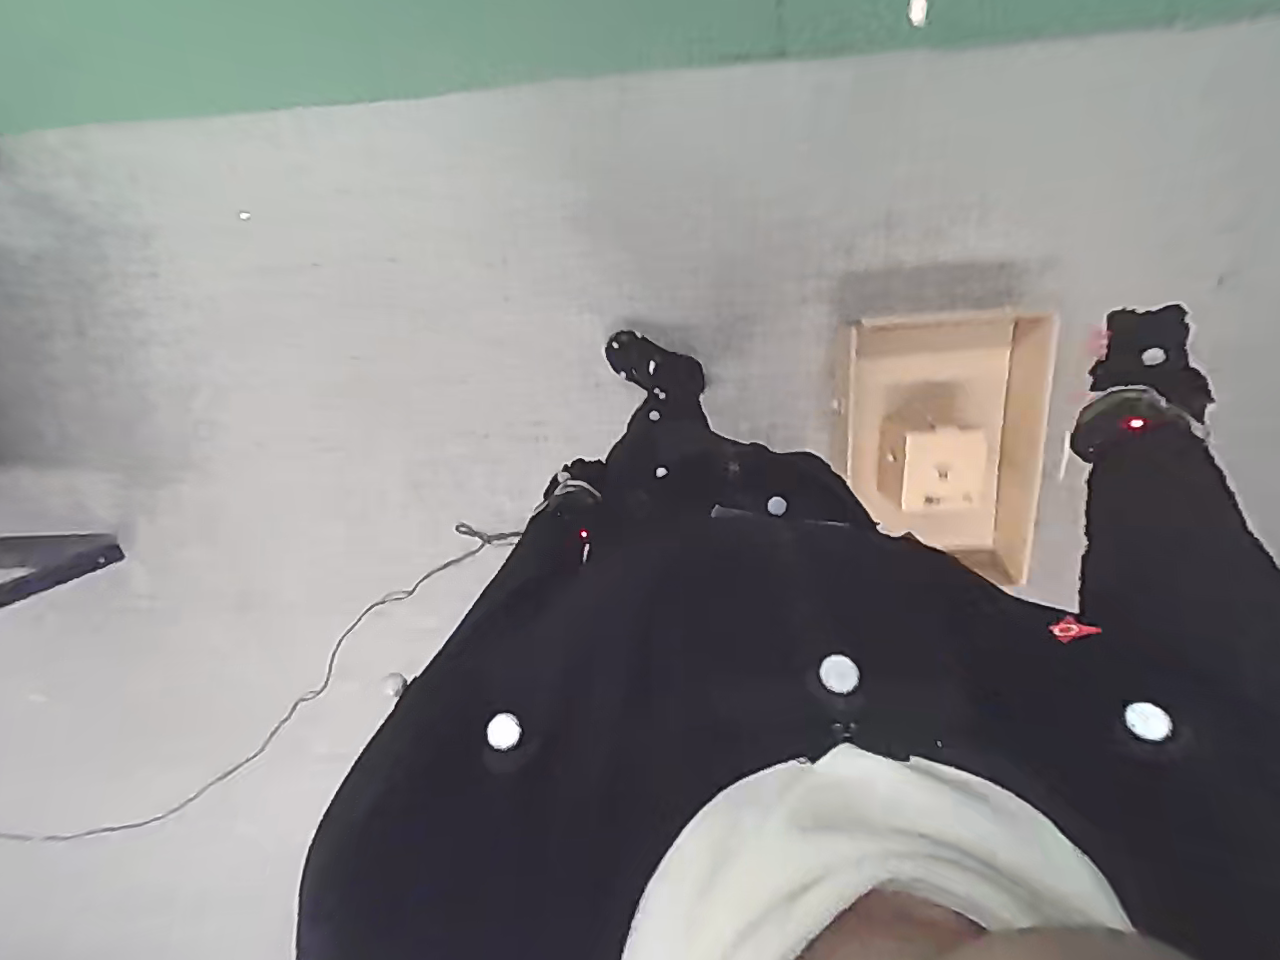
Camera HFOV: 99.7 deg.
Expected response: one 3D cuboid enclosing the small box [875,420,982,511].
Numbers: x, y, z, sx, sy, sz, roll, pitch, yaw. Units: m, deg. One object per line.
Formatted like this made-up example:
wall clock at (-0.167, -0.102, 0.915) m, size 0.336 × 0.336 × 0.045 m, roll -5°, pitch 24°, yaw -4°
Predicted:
small box at (0.652, -0.040, 1.240) m, size 0.168 × 0.176 × 0.179 m, roll -4°, pitch 105°, yaw 5°
